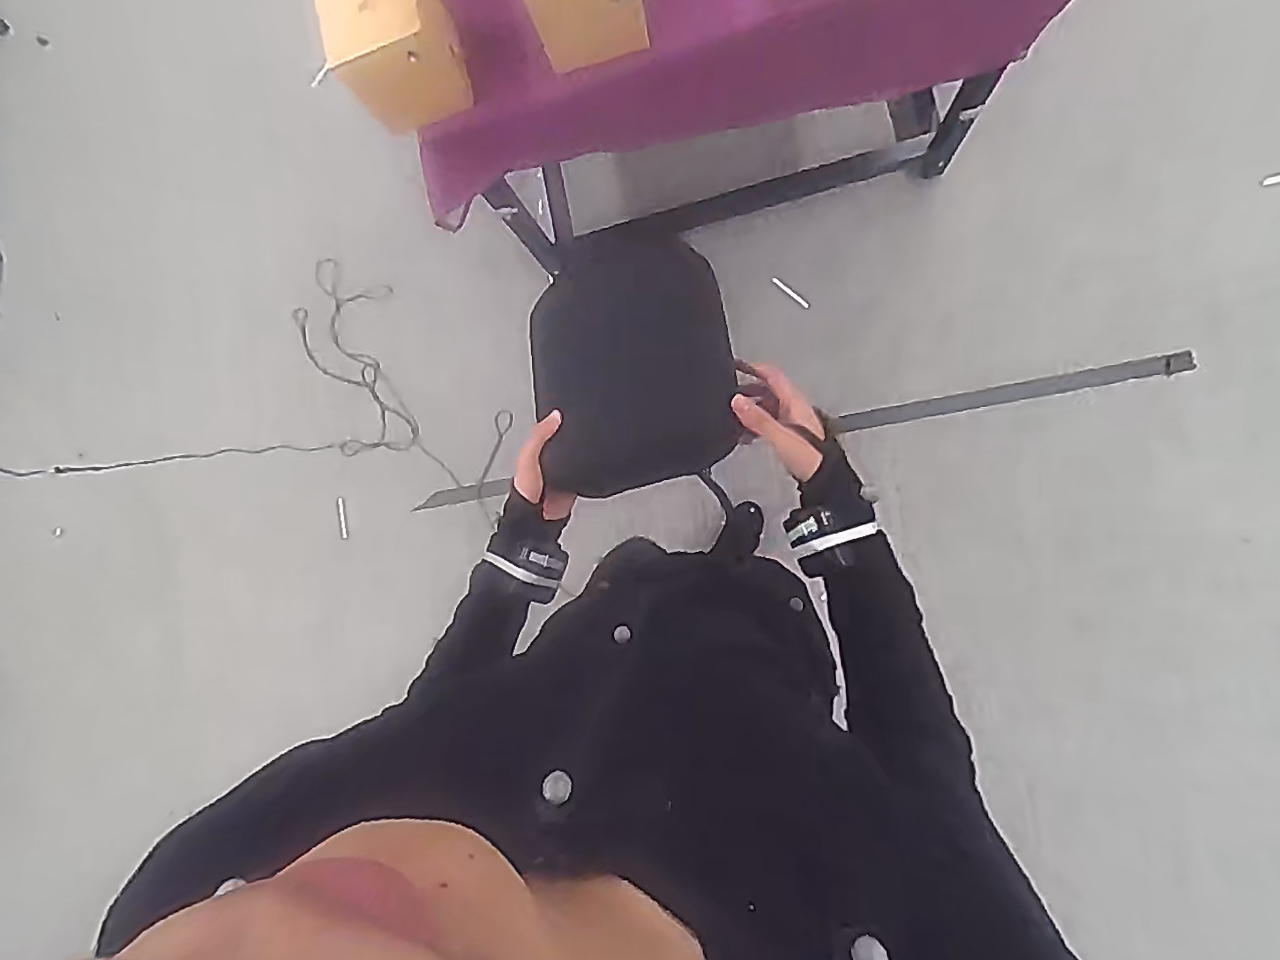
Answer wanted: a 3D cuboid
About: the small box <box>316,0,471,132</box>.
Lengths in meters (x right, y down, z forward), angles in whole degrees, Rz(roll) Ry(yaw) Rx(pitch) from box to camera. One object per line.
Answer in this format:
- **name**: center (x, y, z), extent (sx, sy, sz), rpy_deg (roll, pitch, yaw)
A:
- **small box**: center (-0.425, -0.758, 0.947), extent (0.179, 0.176, 0.168), rpy_deg (-14, 84, 9)
